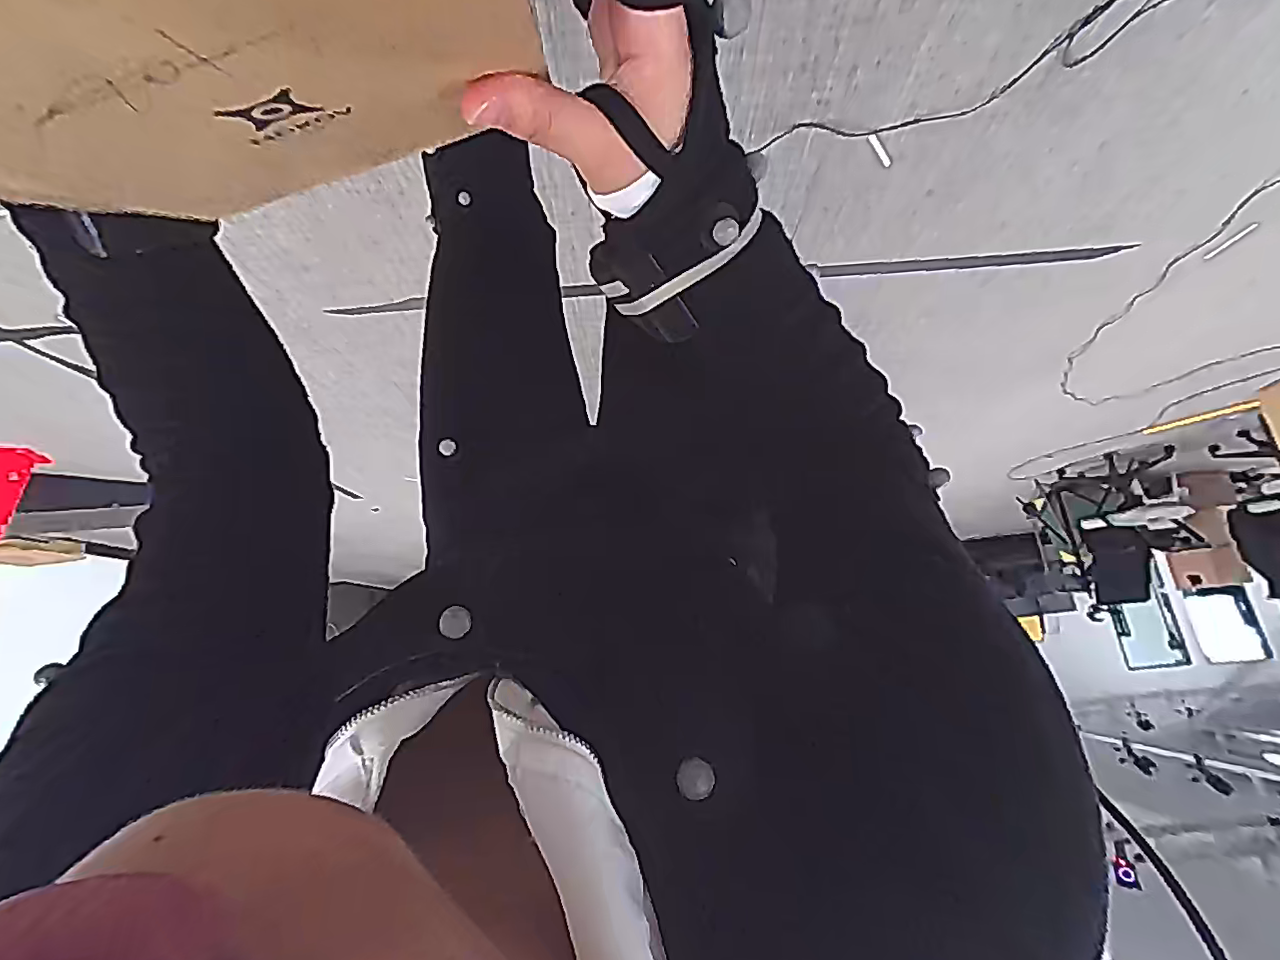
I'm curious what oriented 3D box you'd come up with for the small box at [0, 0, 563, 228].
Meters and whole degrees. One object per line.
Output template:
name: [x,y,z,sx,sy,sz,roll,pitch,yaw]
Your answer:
small box: [-0.127,-0.177,0.126,0.168,0.176,0.179,-18,-159,3]
